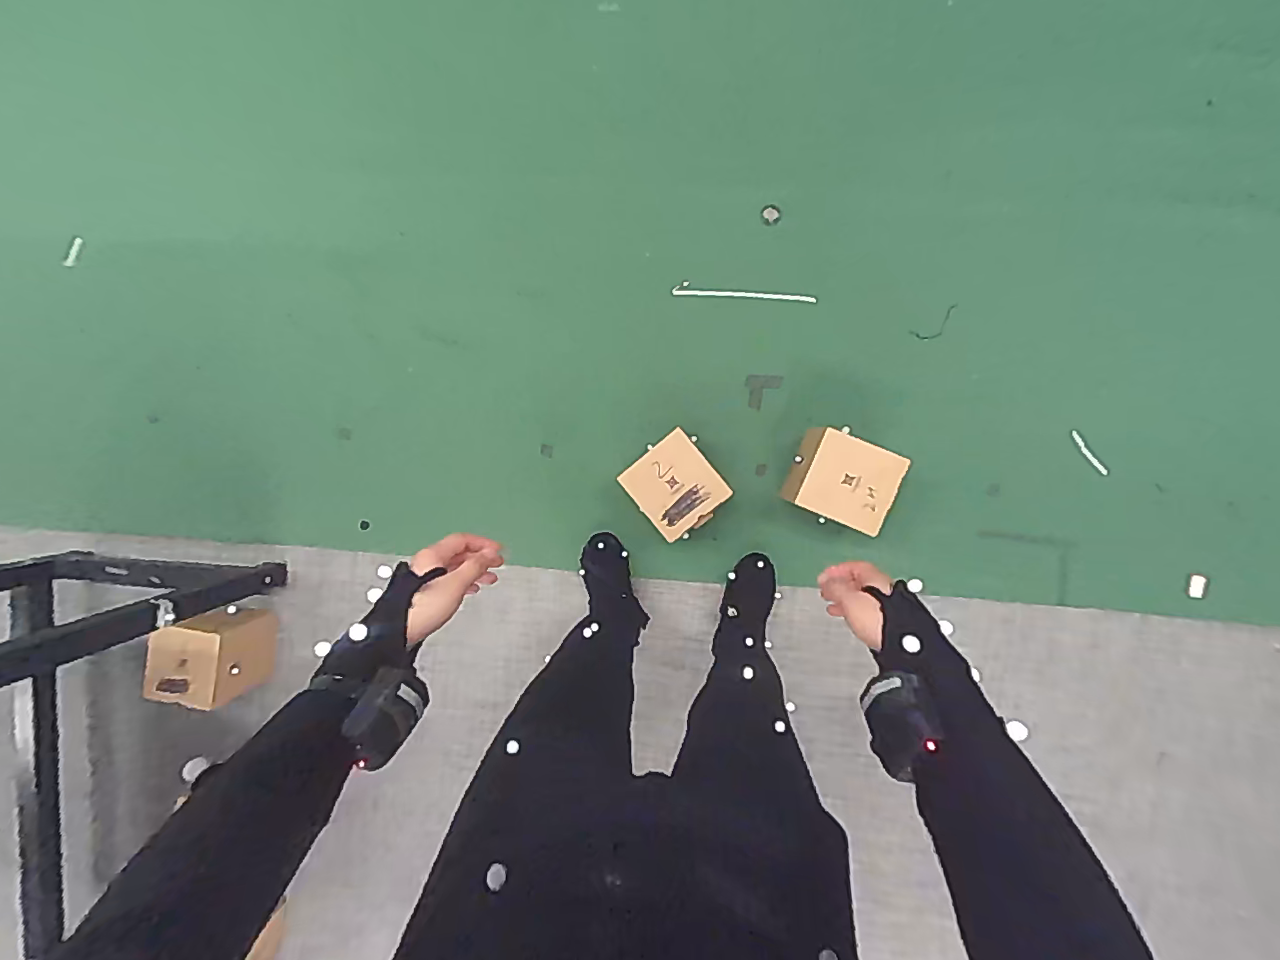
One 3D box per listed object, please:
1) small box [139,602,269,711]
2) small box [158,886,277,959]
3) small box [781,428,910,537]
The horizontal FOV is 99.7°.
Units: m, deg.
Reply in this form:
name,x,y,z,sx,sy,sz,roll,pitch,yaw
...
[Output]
name,x,y,z,sx,sy,sz,roll,pitch,yaw
small box,-1.006,0.404,1.260,0.168,0.176,0.179,9,94,3
small box,-1.030,1.153,1.318,0.168,0.176,0.179,16,96,3
small box,0.416,0.002,1.132,0.179,0.176,0.168,23,96,1
